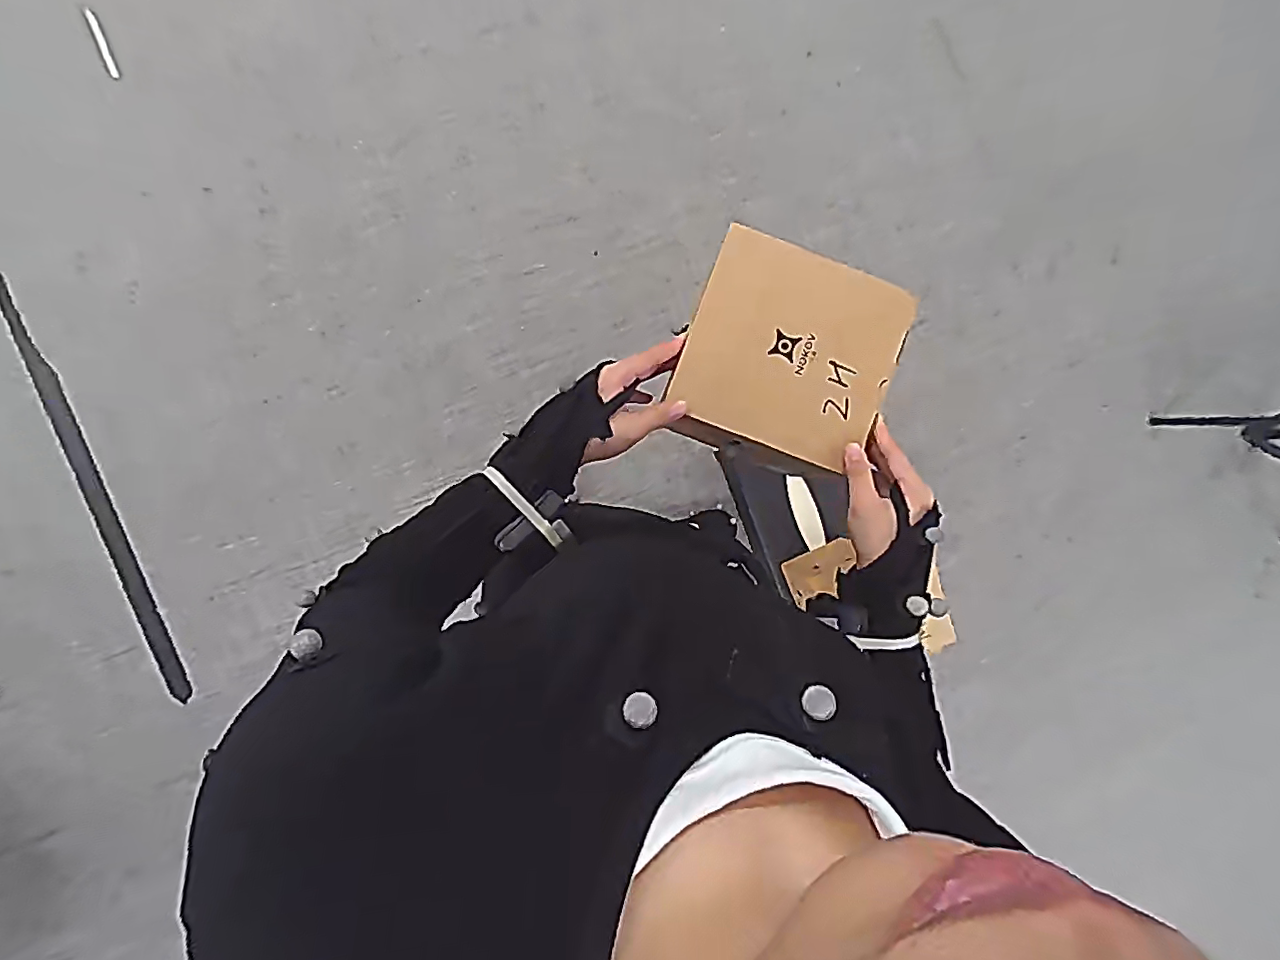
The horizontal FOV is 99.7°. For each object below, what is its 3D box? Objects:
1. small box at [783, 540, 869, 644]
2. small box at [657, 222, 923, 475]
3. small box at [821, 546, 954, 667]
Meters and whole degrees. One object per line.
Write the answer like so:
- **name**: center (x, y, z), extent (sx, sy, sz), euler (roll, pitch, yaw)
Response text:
- **small box**: center (0.471, 0.255, 1.280), extent (0.179, 0.176, 0.168), euler (-23, 95, -5)
- **small box**: center (0.124, -0.109, 0.527), extent (0.179, 0.176, 0.168), euler (21, 91, -3)
- **small box**: center (0.502, 0.252, 1.118), extent (0.168, 0.176, 0.179), euler (-17, 93, -6)
